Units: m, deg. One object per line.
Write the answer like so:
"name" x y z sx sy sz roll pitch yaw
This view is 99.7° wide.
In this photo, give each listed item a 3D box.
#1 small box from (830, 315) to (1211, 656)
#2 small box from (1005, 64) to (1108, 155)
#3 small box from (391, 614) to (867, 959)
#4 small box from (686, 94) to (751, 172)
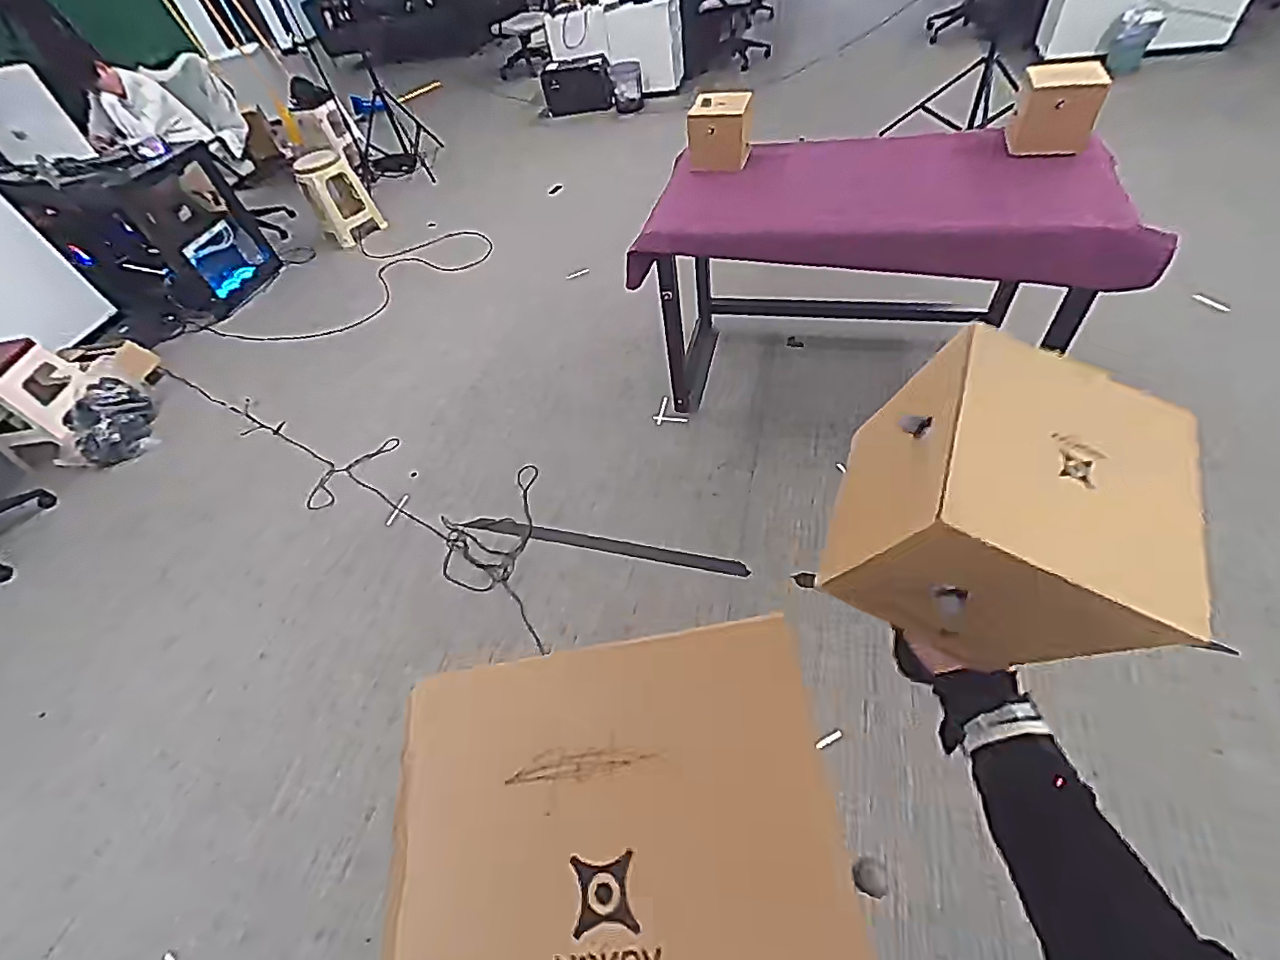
"small box" 0.269 0.018 0.415 0.168 0.176 0.179 25 65 3
"small box" 1.142 -1.024 1.503 0.179 0.176 0.168 8 54 16
"small box" 0.007 0.184 0.256 0.168 0.176 0.179 -13 57 6
"small box" 0.256 -1.116 1.744 0.179 0.176 0.168 10 56 16
